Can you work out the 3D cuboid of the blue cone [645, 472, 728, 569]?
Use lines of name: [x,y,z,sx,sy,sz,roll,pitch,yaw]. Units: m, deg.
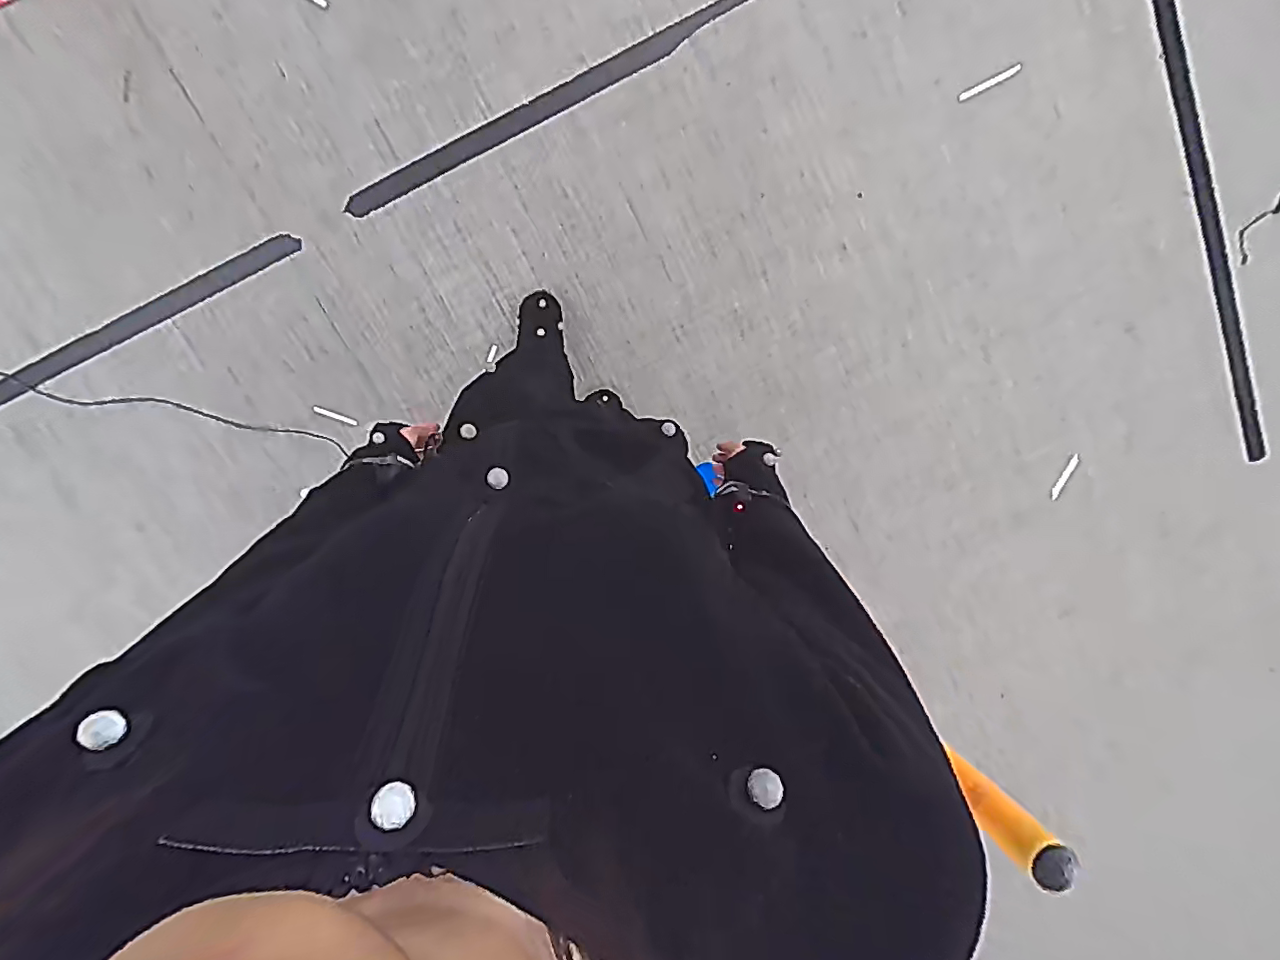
blue cone: [0.138,0.122,1.289,0.192,0.380,0.193,-23,103,3]
